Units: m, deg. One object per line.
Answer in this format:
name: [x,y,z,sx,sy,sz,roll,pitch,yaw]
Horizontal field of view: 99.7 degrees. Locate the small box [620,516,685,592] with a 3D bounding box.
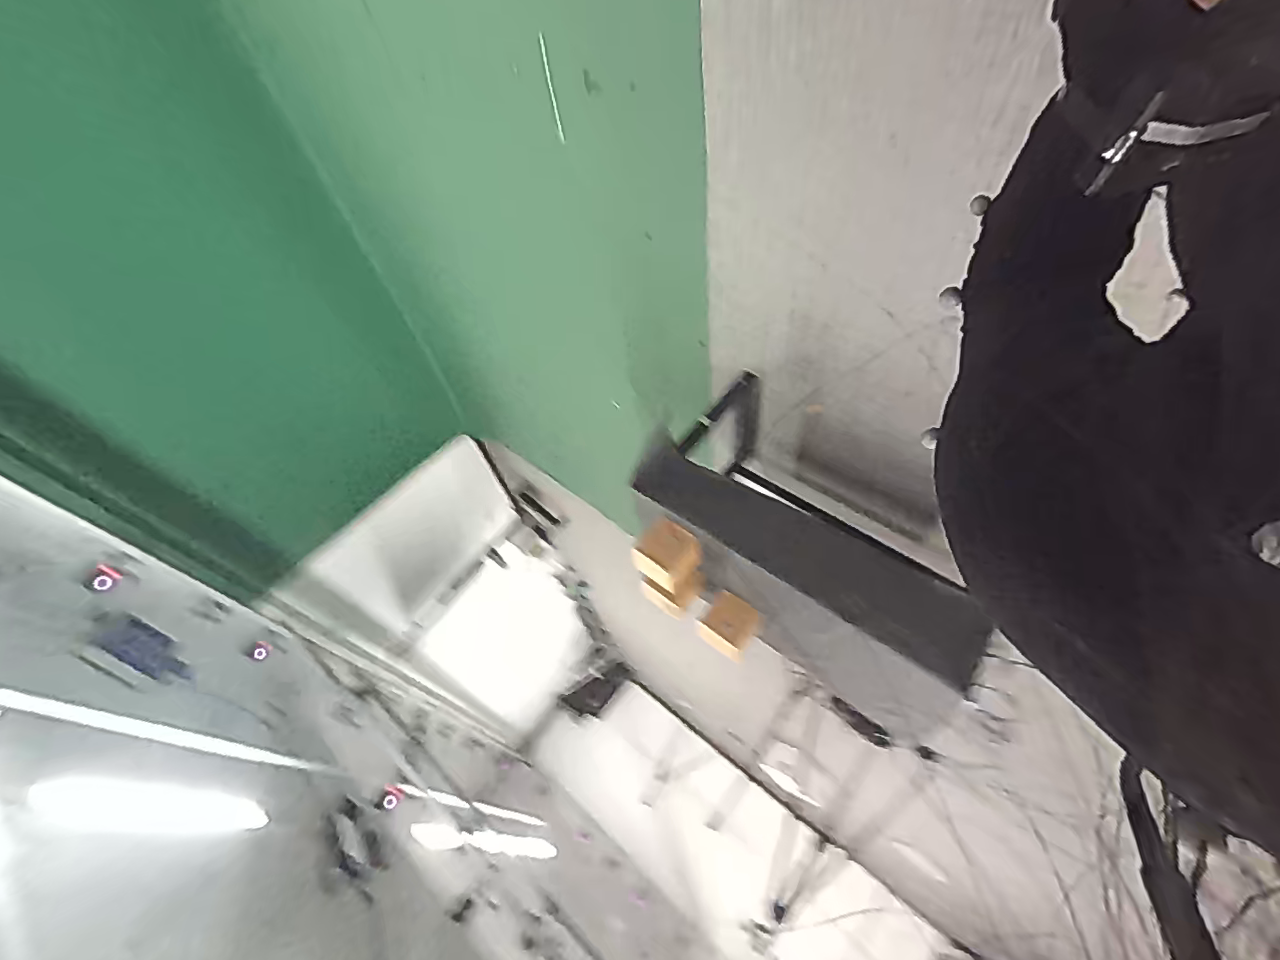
small box: [0.050,0.262,1.926,0.168,0.176,0.179,32,154,23]
